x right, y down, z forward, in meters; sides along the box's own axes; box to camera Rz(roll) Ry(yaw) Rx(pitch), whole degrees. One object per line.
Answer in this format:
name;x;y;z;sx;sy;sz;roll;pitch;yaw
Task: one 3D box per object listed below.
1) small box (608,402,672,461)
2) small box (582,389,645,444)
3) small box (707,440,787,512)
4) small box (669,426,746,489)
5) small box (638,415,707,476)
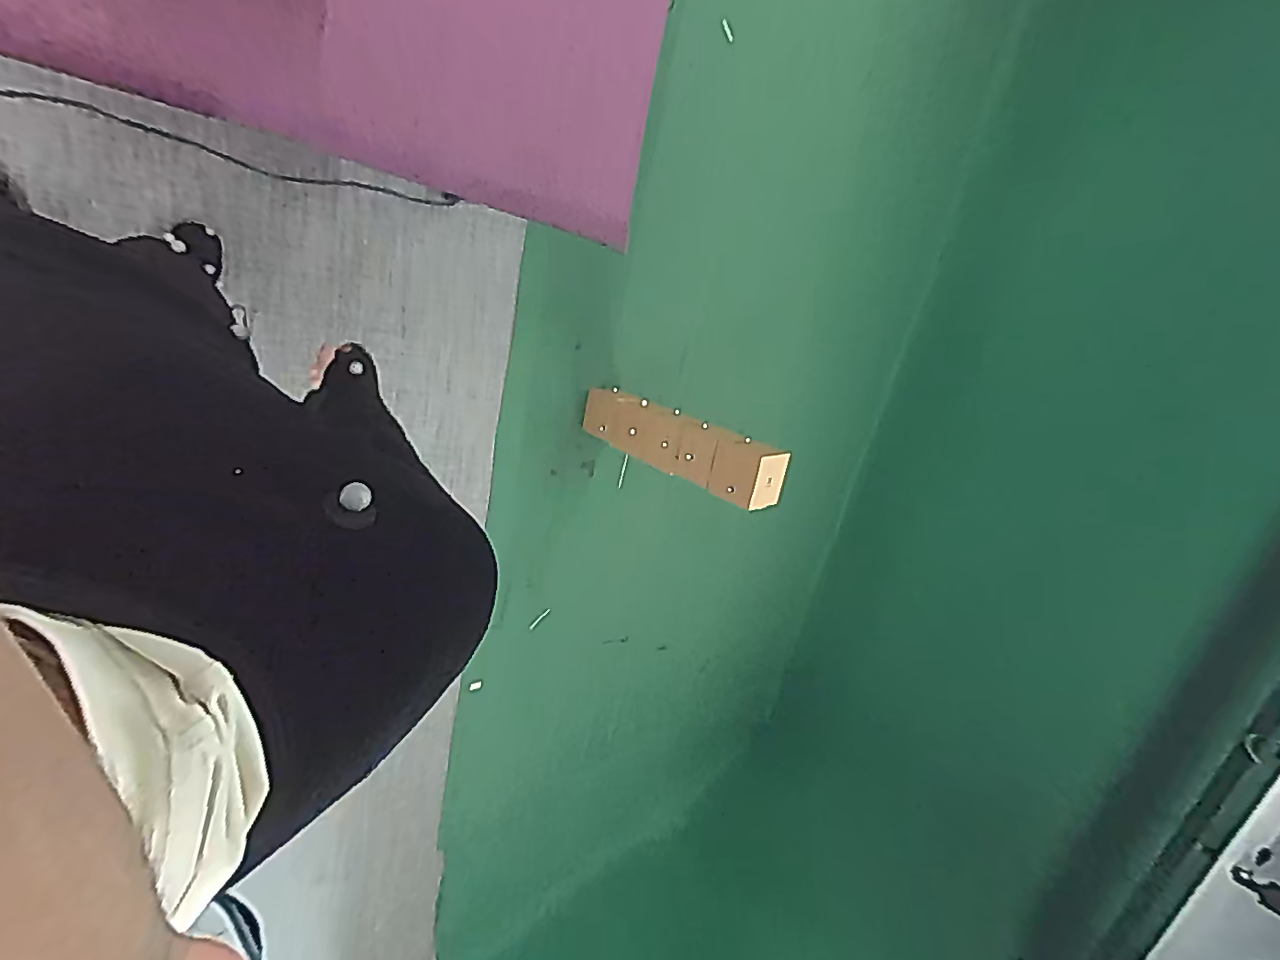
small box;-0.001;-0.185;2.030;0.168;0.176;0.179;-8;116;-43
small box;-0.110;-0.248;2.132;0.168;0.176;0.179;-4;114;-45
small box;0.333;-0.018;1.712;0.168;0.176;0.179;-7;115;-45
small box;0.222;-0.079;1.816;0.179;0.176;0.168;-7;116;-43
small box;0.111;-0.129;1.924;0.168;0.176;0.179;-9;118;-42
